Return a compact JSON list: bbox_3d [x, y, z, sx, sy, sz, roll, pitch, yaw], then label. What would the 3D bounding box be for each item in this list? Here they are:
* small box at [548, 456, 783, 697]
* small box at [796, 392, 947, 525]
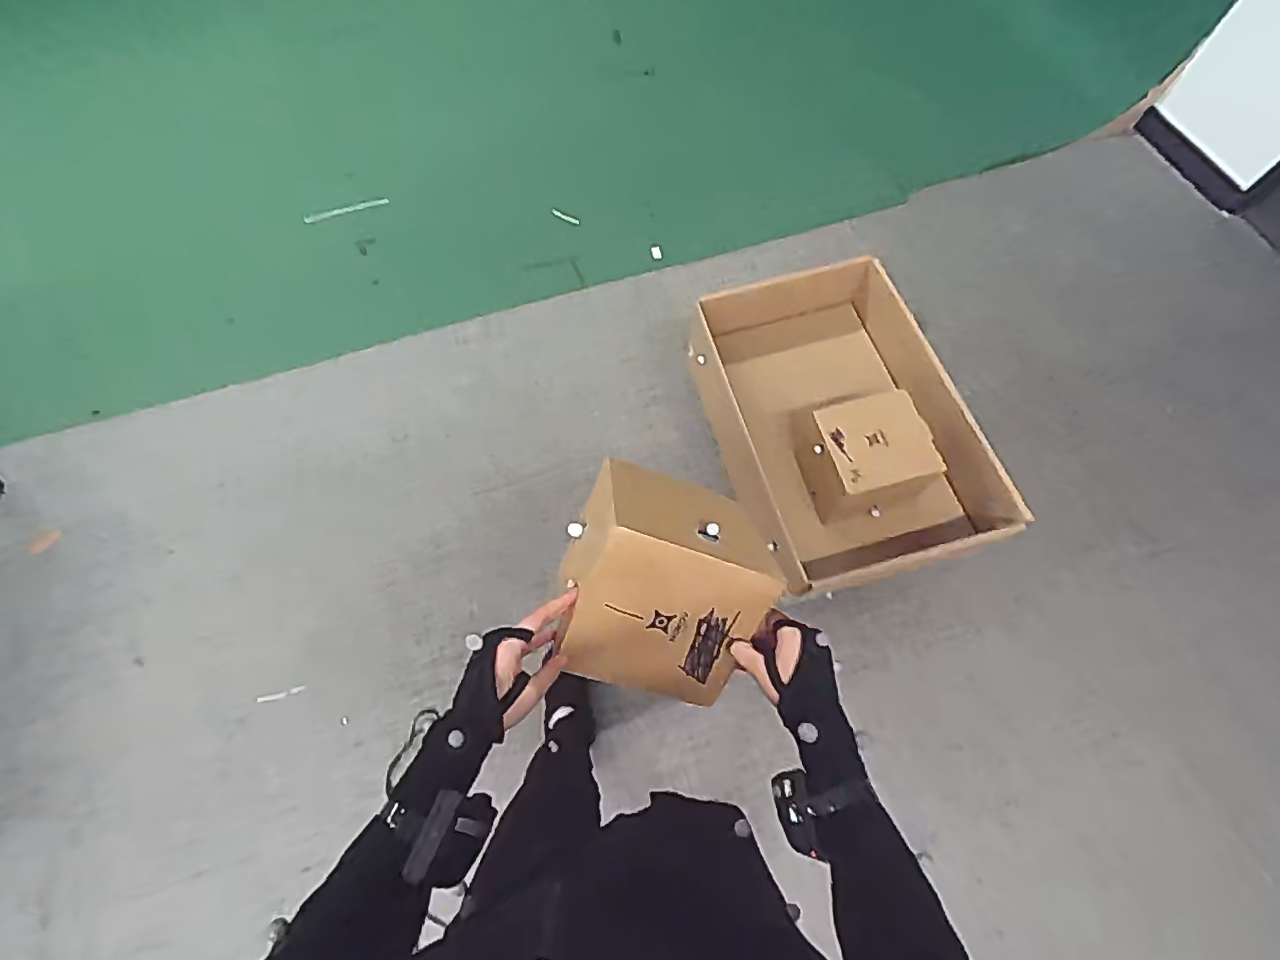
[{"bbox_3d":[0.016,0.093,0.577,0.179,0.176,0.168,20,109,-13],"label":"small box"},{"bbox_3d":[0.408,-0.034,0.987,0.179,0.176,0.168,-13,65,-3],"label":"small box"}]
